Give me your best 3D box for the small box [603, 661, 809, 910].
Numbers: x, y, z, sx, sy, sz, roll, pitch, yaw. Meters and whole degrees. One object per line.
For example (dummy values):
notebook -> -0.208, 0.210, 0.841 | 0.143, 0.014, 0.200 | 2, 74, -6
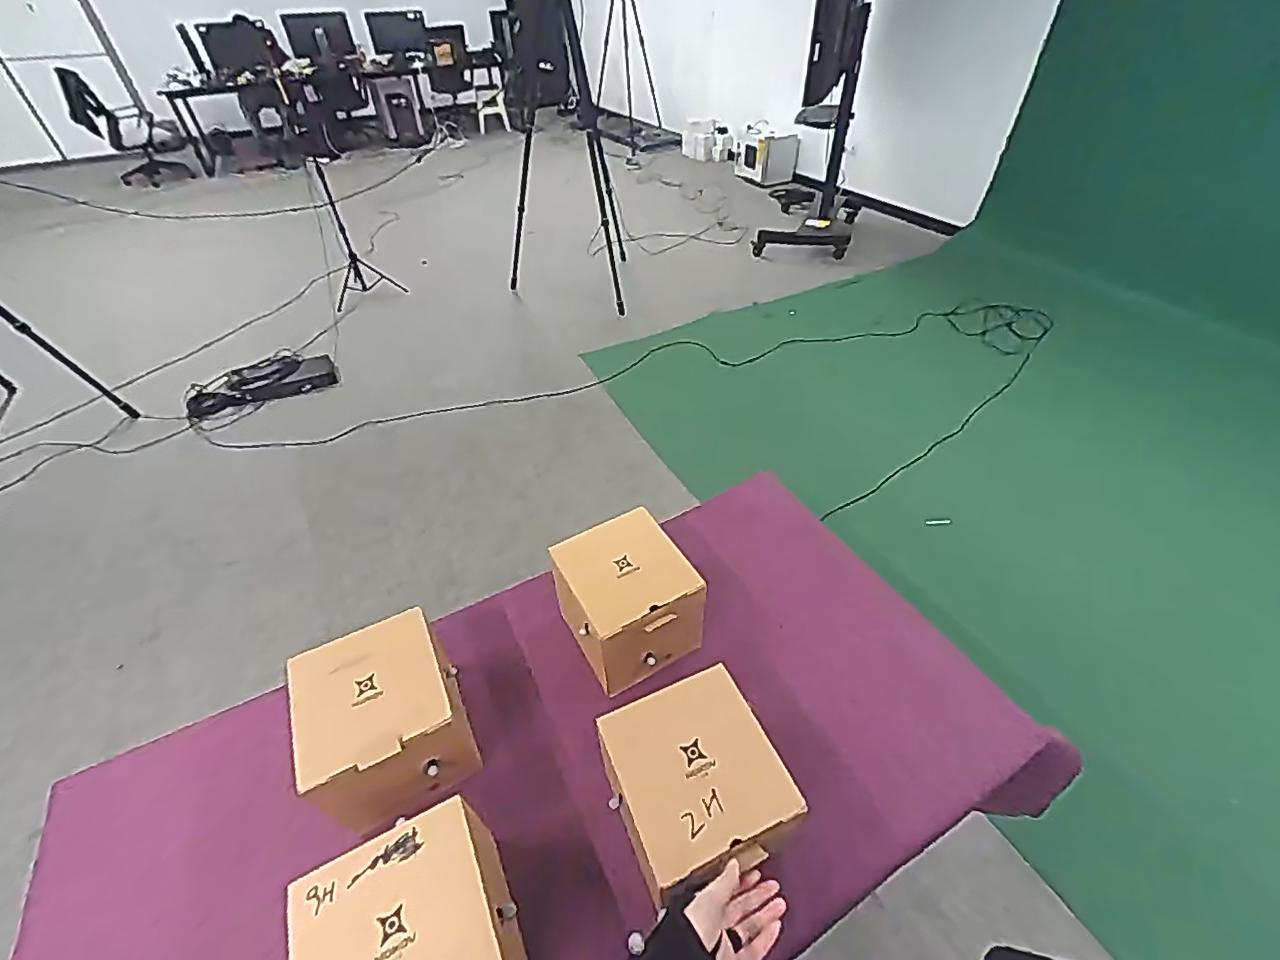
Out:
small box -> 0.066, 0.354, 0.631 | 0.168, 0.176, 0.179 | -19, 46, -15

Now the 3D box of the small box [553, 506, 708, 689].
small box -> -0.016, 0.178, 0.823 | 0.168, 0.176, 0.179 | -24, 48, -20

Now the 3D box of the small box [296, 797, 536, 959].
small box -> -0.209, 0.462, 0.535 | 0.168, 0.176, 0.179 | -22, 47, -19

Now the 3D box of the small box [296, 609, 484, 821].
small box -> -0.317, 0.309, 0.703 | 0.168, 0.176, 0.179 | -21, 47, -20
